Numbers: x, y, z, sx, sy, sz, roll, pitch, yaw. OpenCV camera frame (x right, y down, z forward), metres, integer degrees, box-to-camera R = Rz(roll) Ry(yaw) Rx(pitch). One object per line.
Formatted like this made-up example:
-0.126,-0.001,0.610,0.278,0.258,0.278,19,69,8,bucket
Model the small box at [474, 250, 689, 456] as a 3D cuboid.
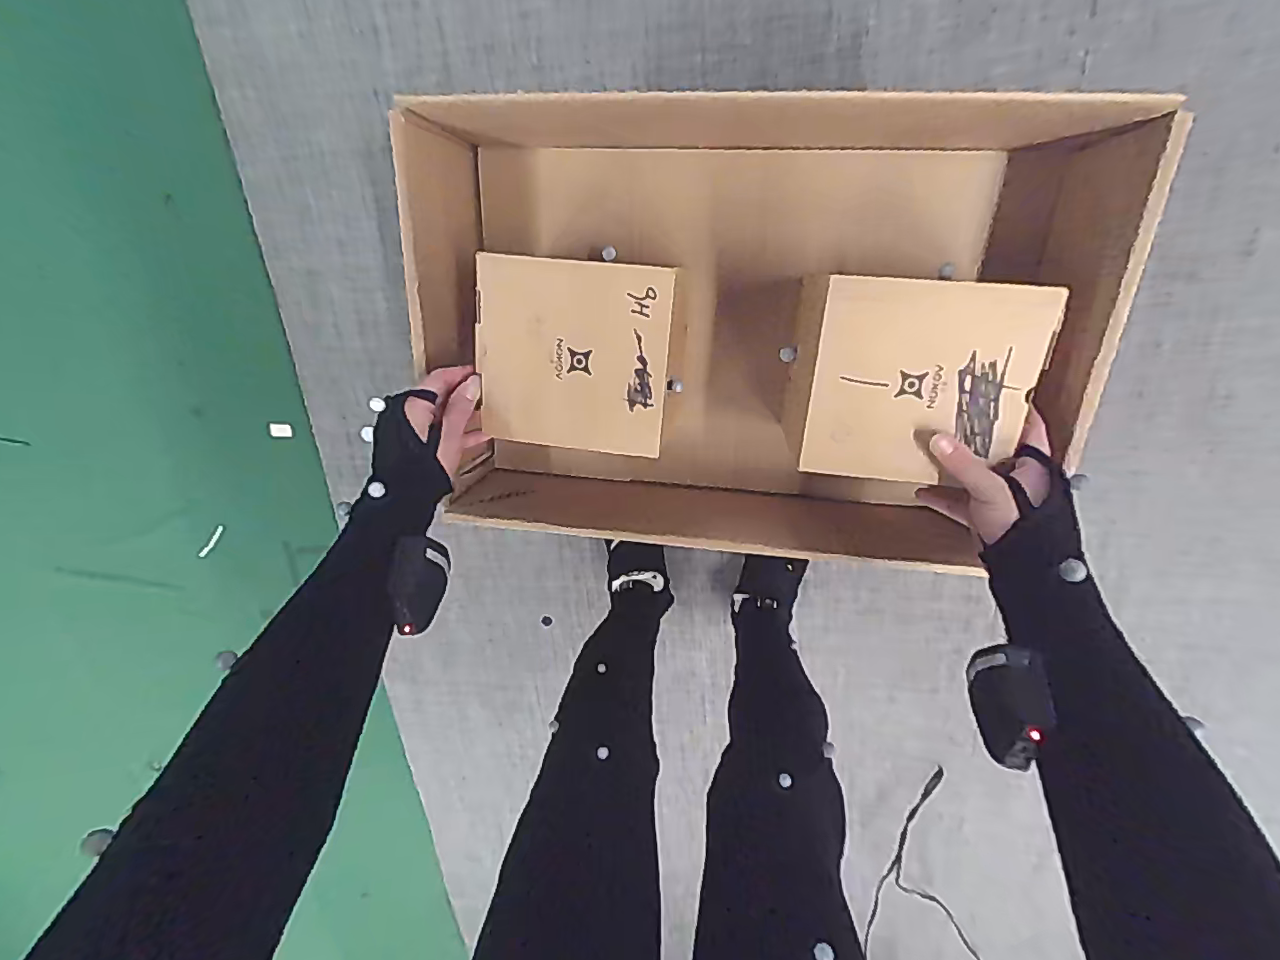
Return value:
-0.052,-0.136,0.558,0.179,0.176,0.168,8,111,8,small box
